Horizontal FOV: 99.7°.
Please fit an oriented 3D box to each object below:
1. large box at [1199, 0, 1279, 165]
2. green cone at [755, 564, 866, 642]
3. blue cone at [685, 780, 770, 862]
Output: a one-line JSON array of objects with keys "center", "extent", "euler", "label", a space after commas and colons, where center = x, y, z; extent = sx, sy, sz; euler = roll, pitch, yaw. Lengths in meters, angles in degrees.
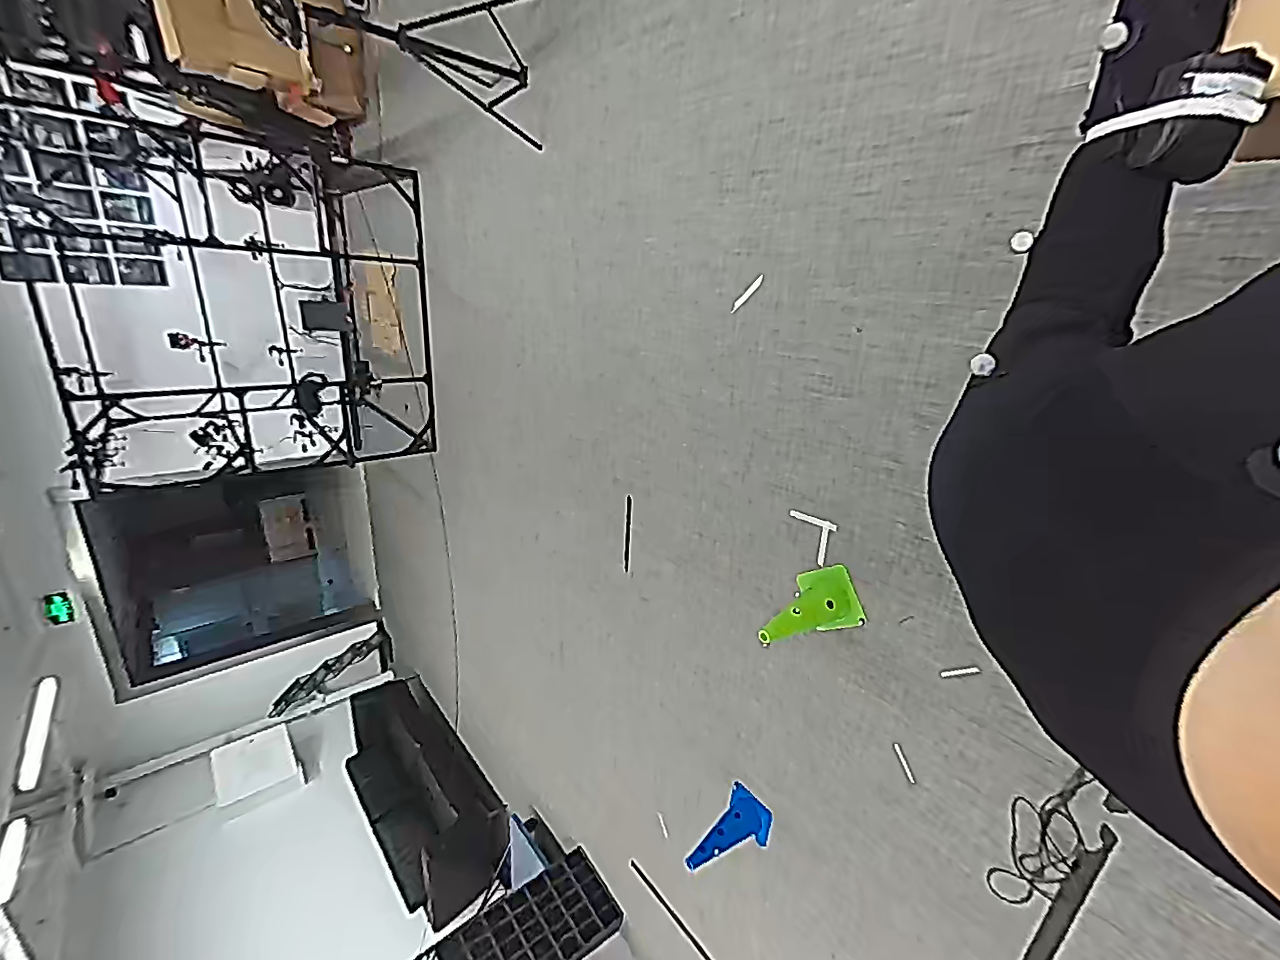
[{"center": [0.624, -0.376, 0.272], "extent": [0.408, 0.320, 0.320], "euler": [24, 122, 44], "label": "large box"}, {"center": [0.491, 0.412, 1.667], "extent": [0.202, 0.368, 0.200], "euler": [-32, 74, 52], "label": "green cone"}, {"center": [0.334, 1.415, 2.168], "extent": [0.192, 0.380, 0.193], "euler": [30, 122, 44], "label": "blue cone"}]
